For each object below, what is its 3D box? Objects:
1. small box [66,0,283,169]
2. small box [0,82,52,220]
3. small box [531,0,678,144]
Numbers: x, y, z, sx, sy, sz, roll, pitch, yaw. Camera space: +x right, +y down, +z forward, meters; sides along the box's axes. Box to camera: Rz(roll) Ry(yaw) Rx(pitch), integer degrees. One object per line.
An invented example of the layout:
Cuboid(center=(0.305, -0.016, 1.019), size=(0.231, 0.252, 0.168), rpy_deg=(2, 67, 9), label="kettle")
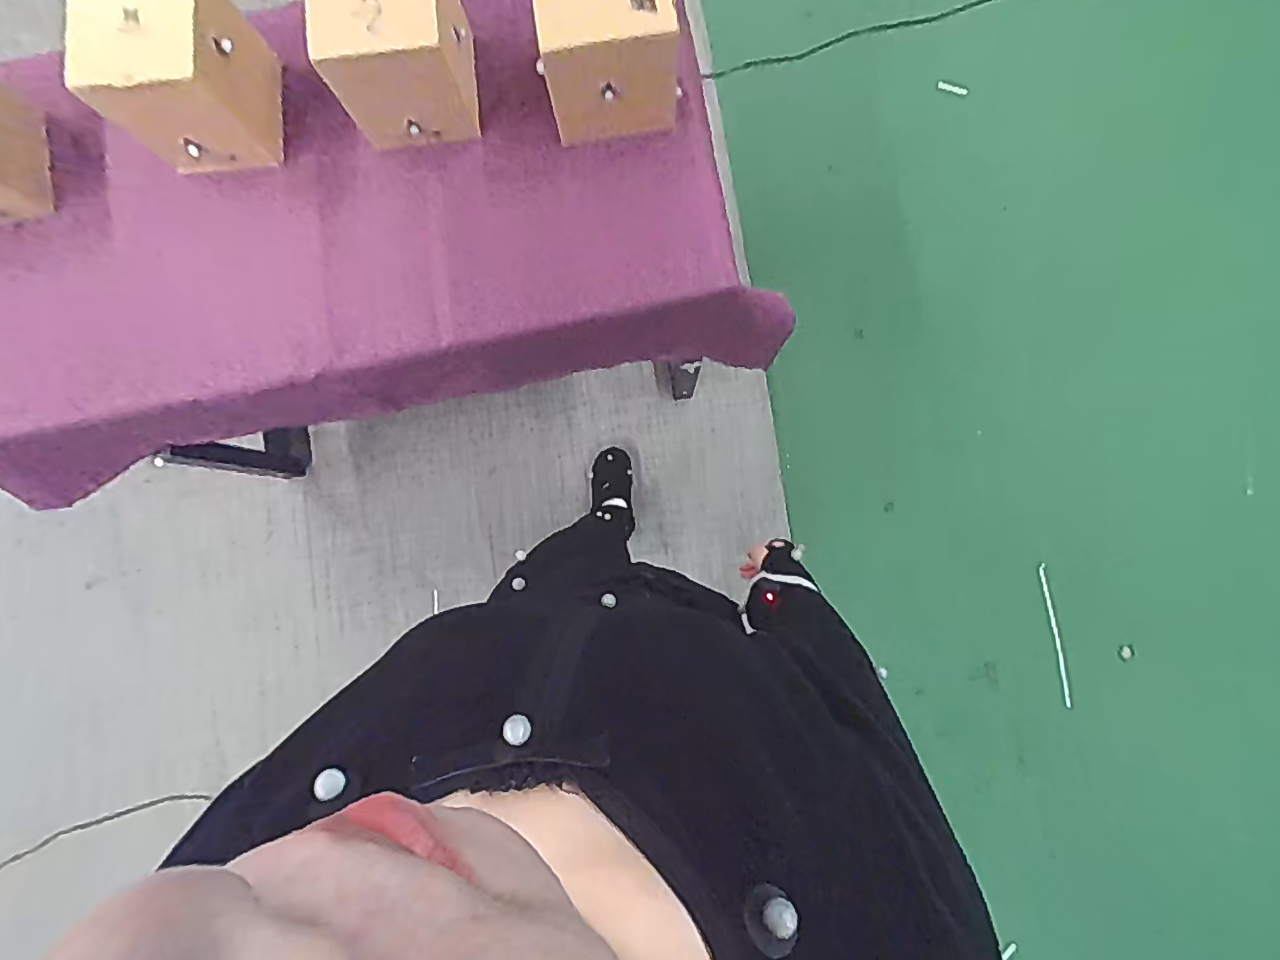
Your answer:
Cuboid(center=(-0.637, -0.576, 0.761), size=(0.168, 0.176, 0.179), rpy_deg=(-3, 86, 1), label="small box")
Cuboid(center=(-0.995, -0.491, 0.758), size=(0.168, 0.176, 0.179), rpy_deg=(-11, 85, 0), label="small box")
Cuboid(center=(-0.047, -0.607, 0.749), size=(0.179, 0.176, 0.168), rpy_deg=(-8, 85, 2), label="small box")
